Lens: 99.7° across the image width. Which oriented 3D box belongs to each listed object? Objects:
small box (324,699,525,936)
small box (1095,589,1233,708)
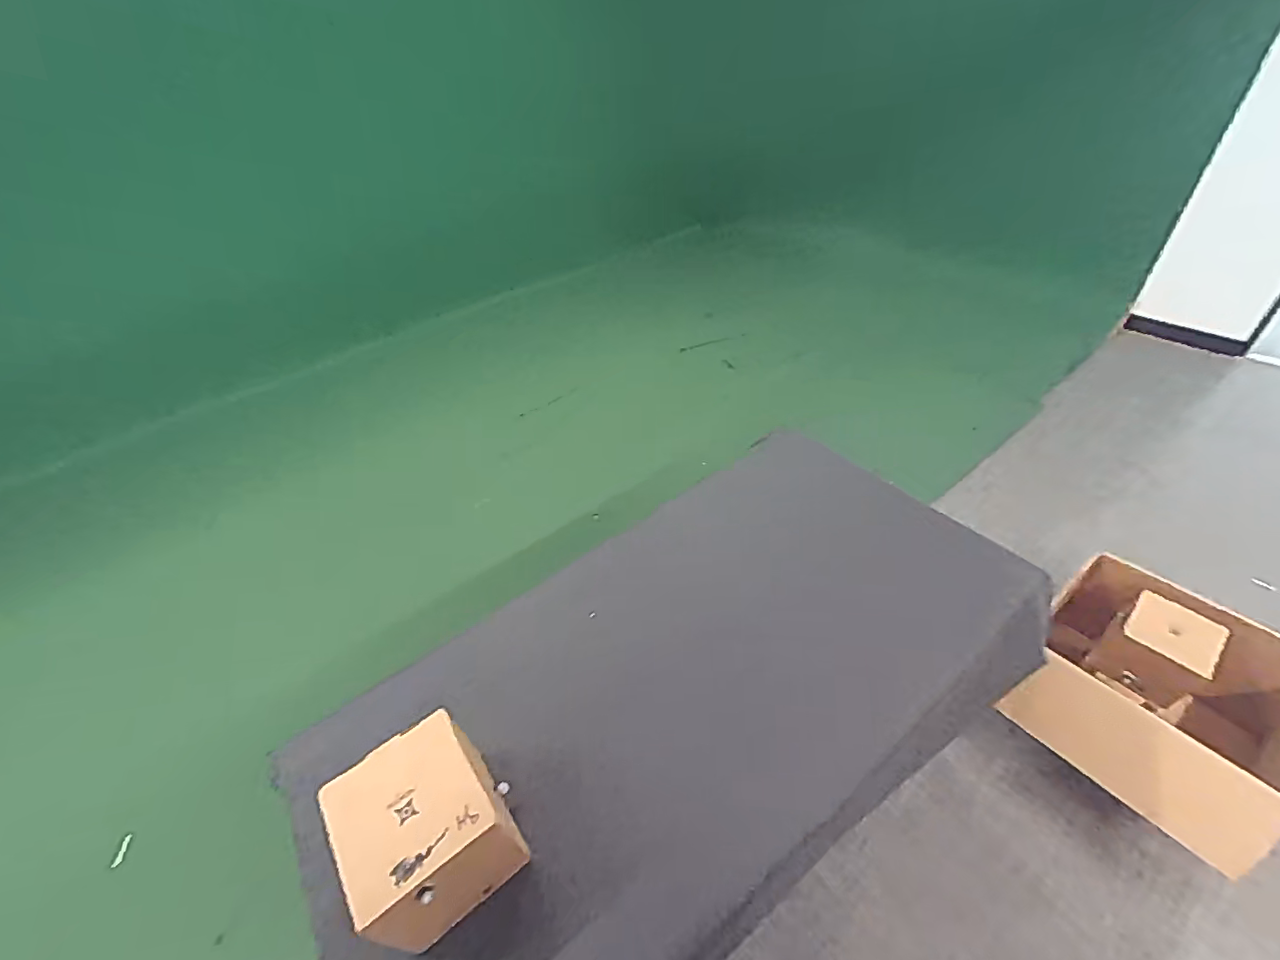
[{"bbox_3d":[-0.271,0.433,0.699,0.168,0.176,0.179,-30,46,-23],"label":"small box"},{"bbox_3d":[1.253,0.407,1.305,0.179,0.176,0.168,-36,52,-26],"label":"small box"}]
